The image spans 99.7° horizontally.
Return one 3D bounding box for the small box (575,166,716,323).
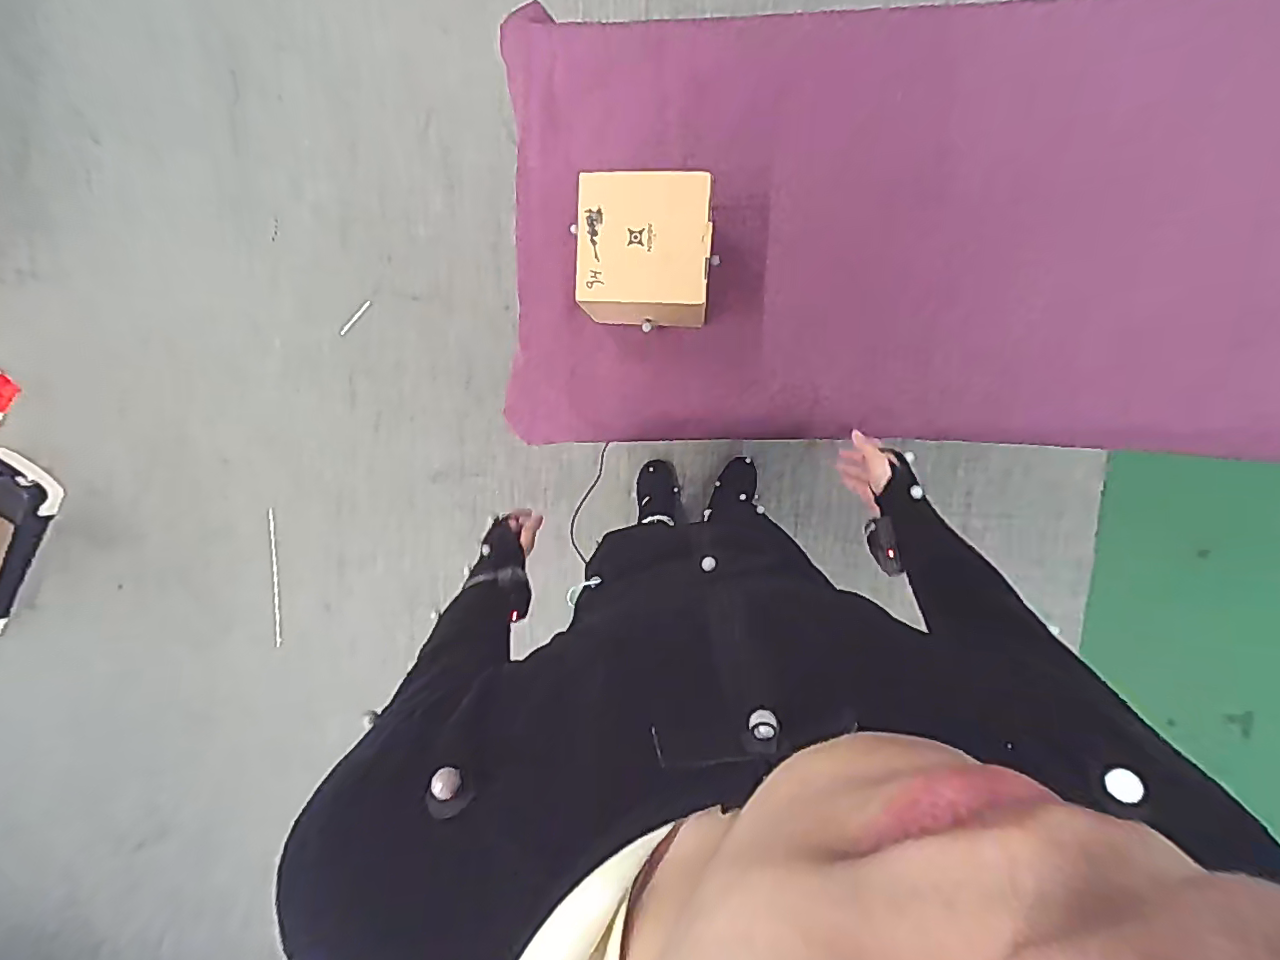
[{"bbox_3d":[0.011,-0.325,0.776,0.179,0.176,0.168,4,97,5],"label":"small box"}]
